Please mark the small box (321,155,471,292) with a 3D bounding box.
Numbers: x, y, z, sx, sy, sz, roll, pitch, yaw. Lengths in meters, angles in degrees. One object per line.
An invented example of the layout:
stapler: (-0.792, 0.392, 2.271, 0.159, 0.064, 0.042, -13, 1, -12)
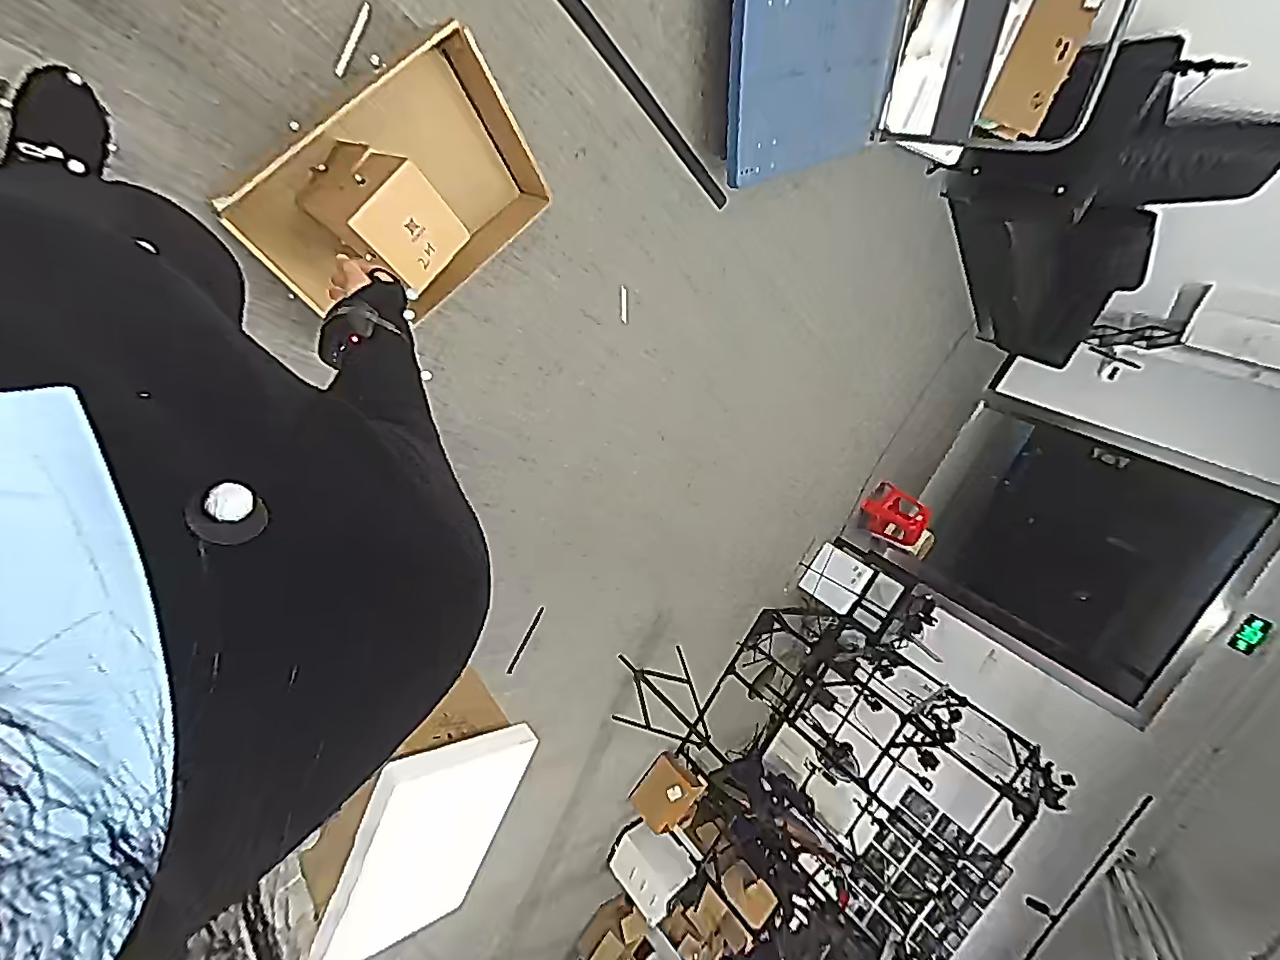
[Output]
small box: (-0.478, -0.504, 1.056, 0.168, 0.176, 0.179, -52, 144, -8)
